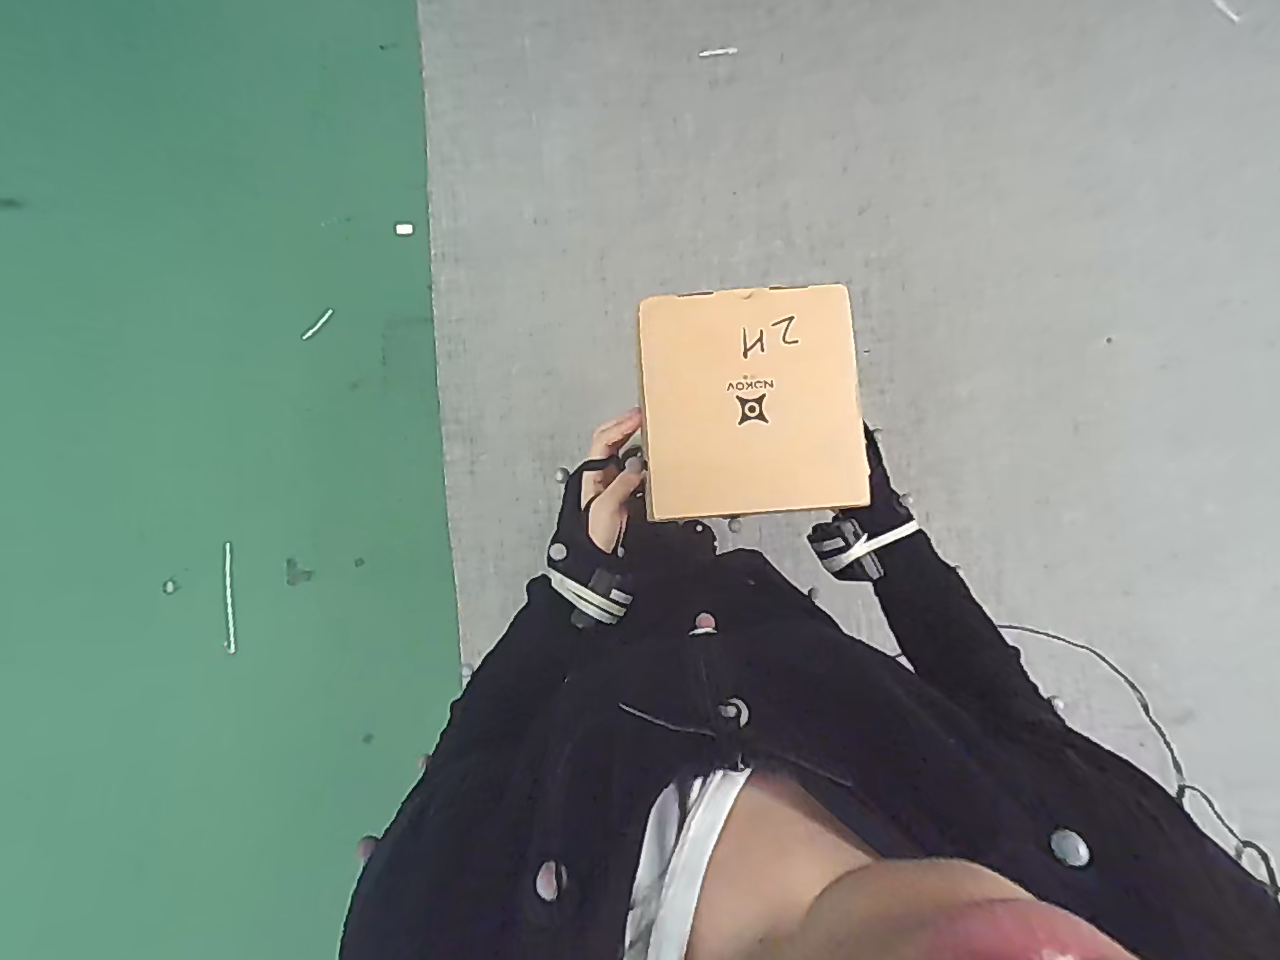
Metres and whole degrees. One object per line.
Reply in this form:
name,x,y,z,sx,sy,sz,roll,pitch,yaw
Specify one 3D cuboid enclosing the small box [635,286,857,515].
small box,0.082,-0.057,0.499,0.168,0.176,0.179,-3,84,-1
